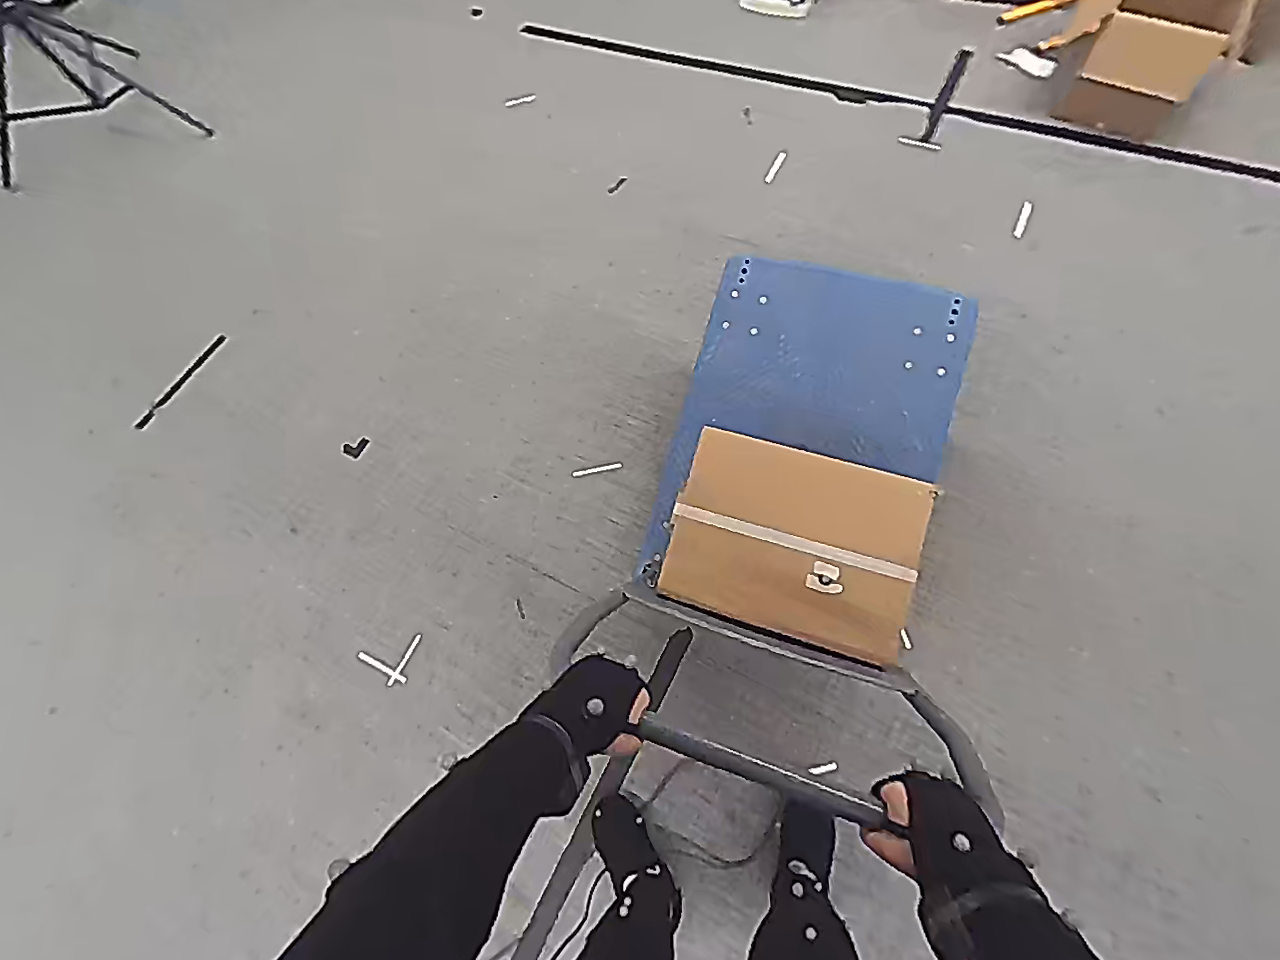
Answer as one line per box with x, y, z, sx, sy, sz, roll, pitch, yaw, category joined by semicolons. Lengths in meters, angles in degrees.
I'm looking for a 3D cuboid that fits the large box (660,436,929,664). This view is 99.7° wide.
0.285;0.130;1.085;0.408;0.320;0.320;16;86;11;large box
